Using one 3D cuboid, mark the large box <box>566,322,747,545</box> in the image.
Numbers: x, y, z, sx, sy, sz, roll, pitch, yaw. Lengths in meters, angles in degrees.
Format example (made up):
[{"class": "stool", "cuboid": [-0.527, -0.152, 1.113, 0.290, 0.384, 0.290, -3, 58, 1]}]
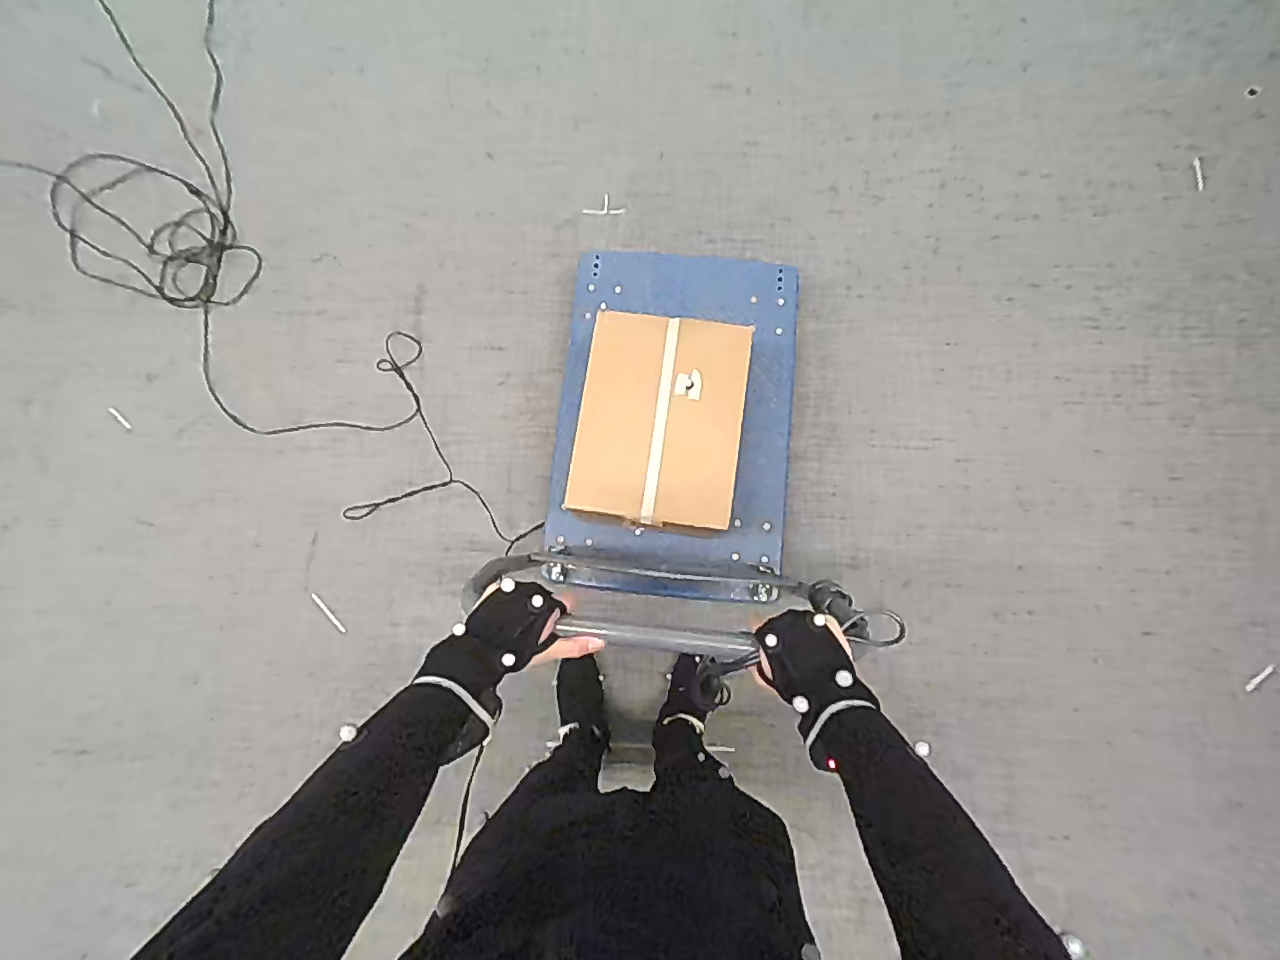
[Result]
[{"class": "large box", "cuboid": [0.043, -0.080, 1.190, 0.320, 0.320, 0.408, 8, 80, 3]}]
